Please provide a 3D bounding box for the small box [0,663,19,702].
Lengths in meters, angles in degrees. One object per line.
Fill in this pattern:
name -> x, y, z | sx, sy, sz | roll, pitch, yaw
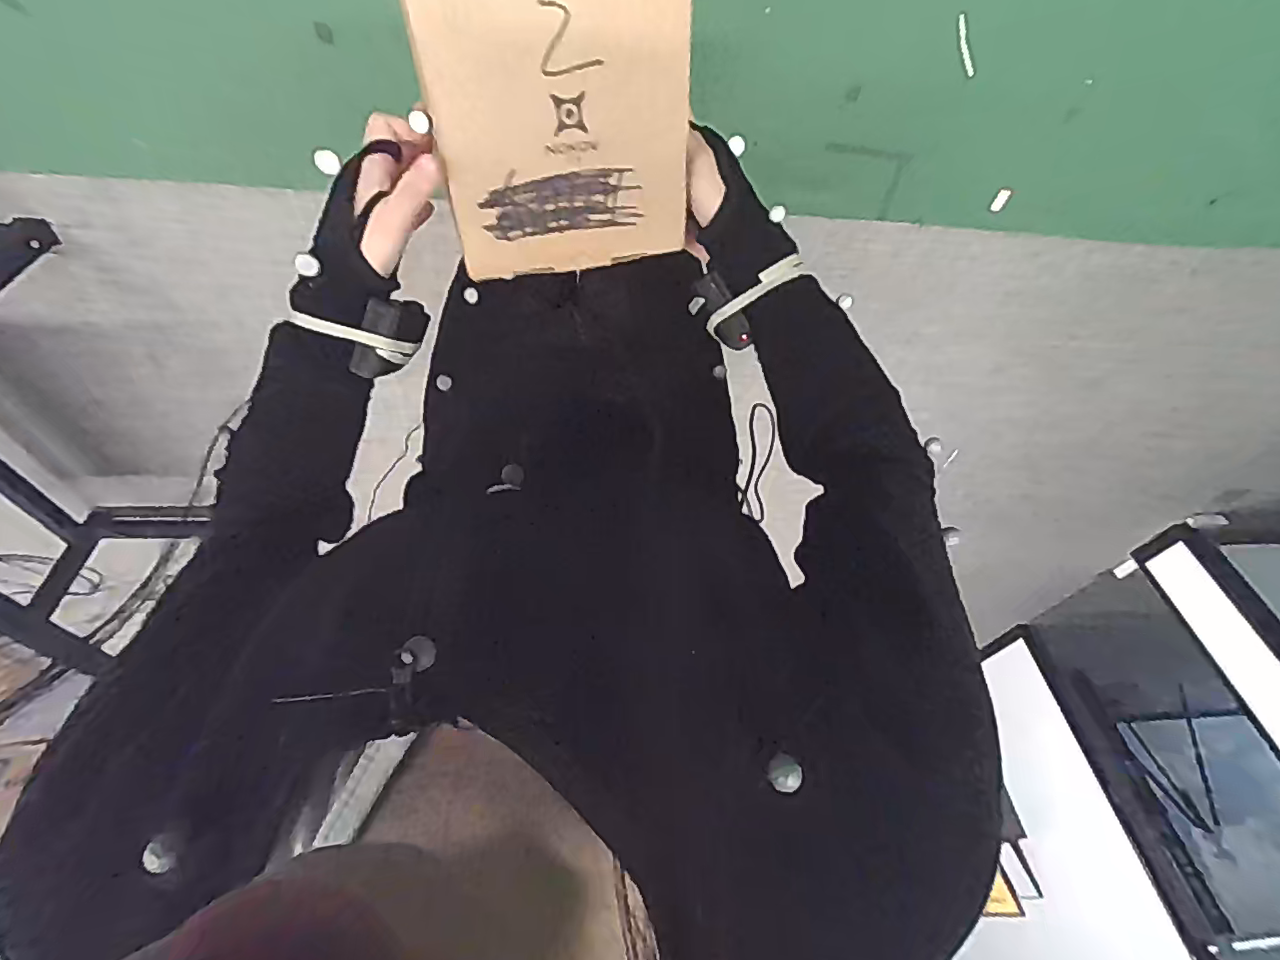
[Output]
small box -> -1.486, 0.455, 1.118 | 0.179, 0.176, 0.168 | 2, 142, -8
